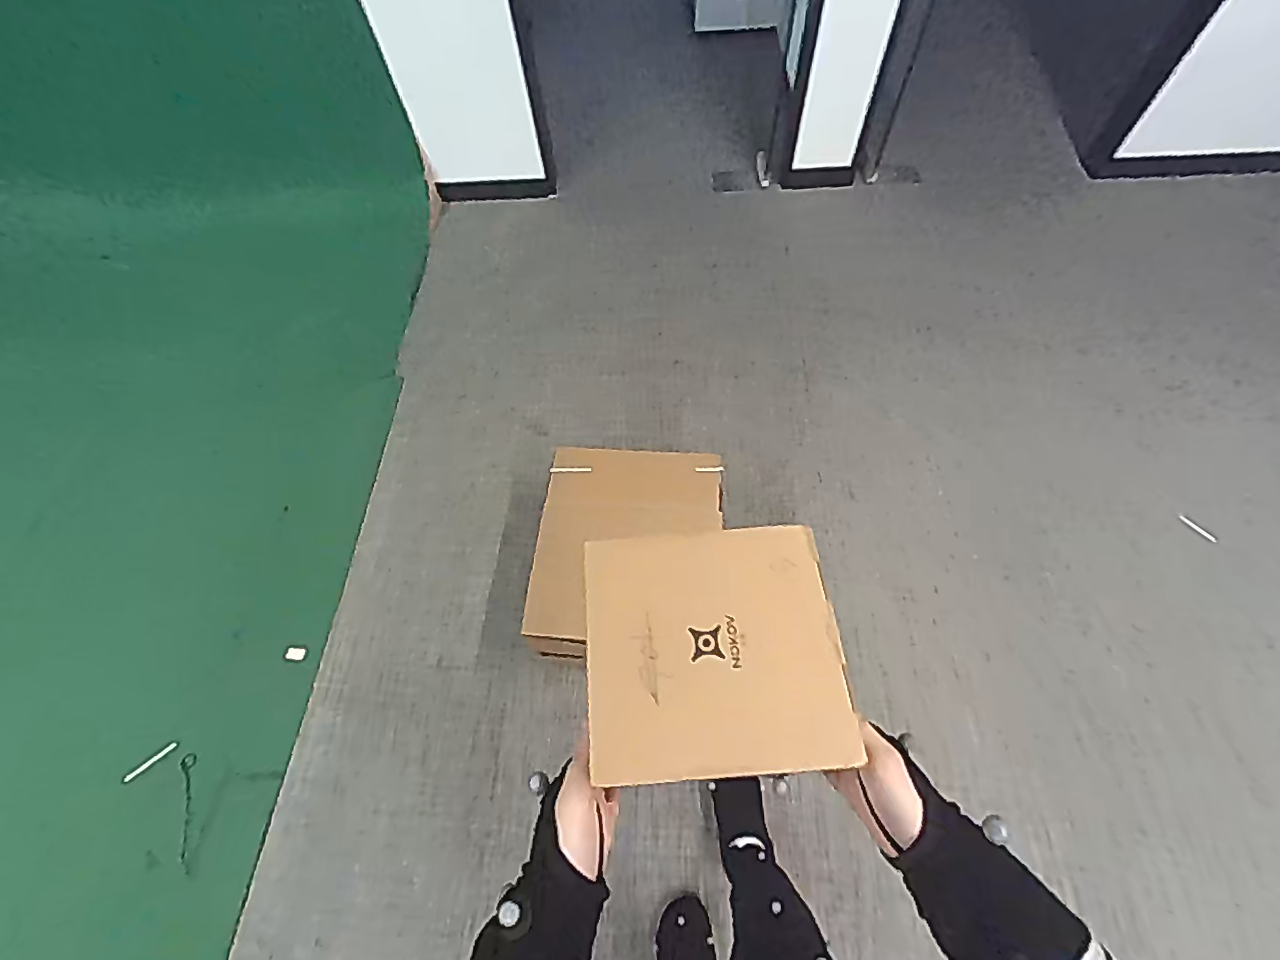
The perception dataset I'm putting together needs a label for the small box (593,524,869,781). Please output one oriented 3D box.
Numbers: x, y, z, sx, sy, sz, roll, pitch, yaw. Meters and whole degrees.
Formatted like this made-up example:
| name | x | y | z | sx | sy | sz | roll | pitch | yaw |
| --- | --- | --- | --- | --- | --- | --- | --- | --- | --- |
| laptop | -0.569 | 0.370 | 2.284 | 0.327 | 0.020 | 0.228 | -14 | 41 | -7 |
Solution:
| name | x | y | z | sx | sy | sz | roll | pitch | yaw |
| --- | --- | --- | --- | --- | --- | --- | --- | --- | --- |
| small box | 0.057 | 0.149 | 0.446 | 0.179 | 0.176 | 0.168 | -5 | 60 | 0 |
